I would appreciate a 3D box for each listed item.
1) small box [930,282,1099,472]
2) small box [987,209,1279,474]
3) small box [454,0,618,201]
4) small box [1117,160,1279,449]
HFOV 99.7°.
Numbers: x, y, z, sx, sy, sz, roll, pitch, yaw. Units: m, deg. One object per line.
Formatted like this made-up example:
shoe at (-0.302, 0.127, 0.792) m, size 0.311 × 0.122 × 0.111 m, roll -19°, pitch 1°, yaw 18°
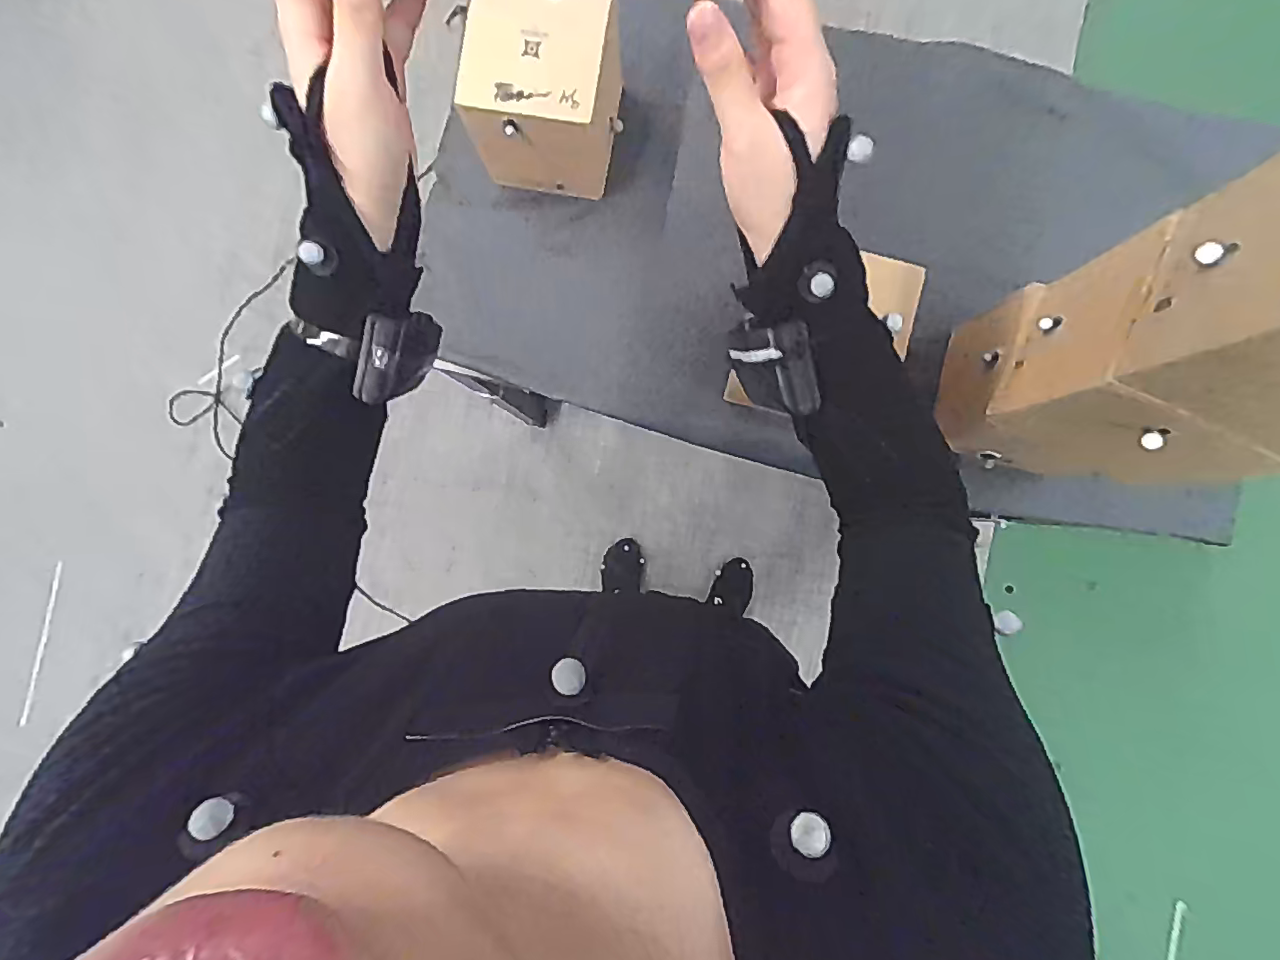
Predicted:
small box at (0.498, -0.117, 0.682) m, size 0.168 × 0.176 × 0.179 m, roll 14°, pitch 87°, yaw 3°
small box at (0.490, -0.112, 0.519) m, size 0.179 × 0.176 × 0.168 m, roll 25°, pitch 87°, yaw 4°
small box at (-0.124, -0.509, 0.714) m, size 0.168 × 0.176 × 0.179 m, roll 10°, pitch 88°, yaw 1°
small box at (0.489, -0.124, 0.355) m, size 0.179 × 0.176 × 0.168 m, roll 26°, pitch 87°, yaw 4°
